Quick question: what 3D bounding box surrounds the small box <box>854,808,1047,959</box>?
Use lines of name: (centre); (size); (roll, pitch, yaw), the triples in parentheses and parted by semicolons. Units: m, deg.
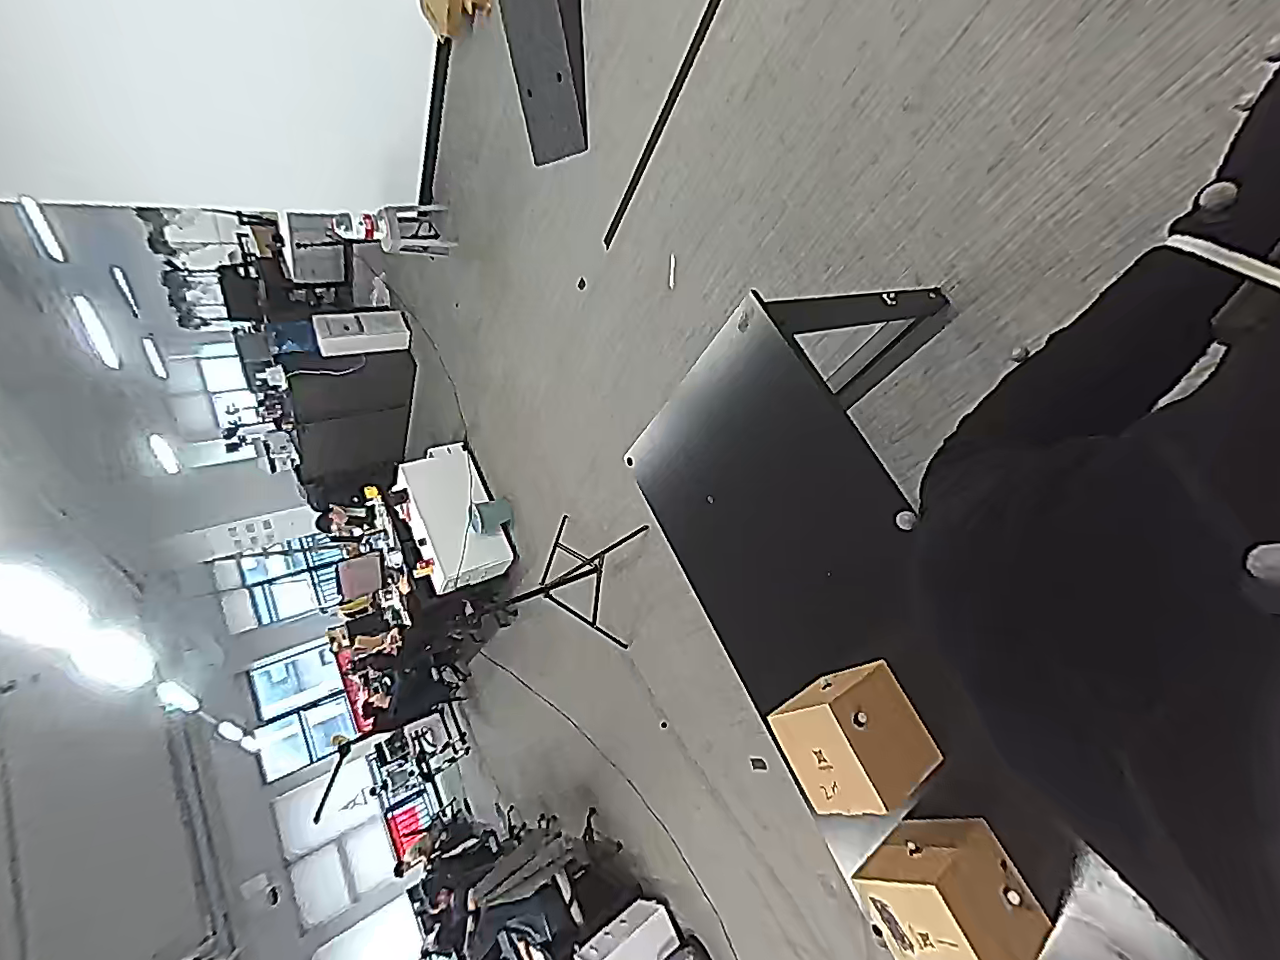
small box: (0.495, 0.657, 0.869); (0.168, 0.176, 0.179); (61, 144, 18)

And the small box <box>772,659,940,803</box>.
small box: (0.373, 0.432, 0.945); (0.179, 0.176, 0.168); (62, 146, 17)
